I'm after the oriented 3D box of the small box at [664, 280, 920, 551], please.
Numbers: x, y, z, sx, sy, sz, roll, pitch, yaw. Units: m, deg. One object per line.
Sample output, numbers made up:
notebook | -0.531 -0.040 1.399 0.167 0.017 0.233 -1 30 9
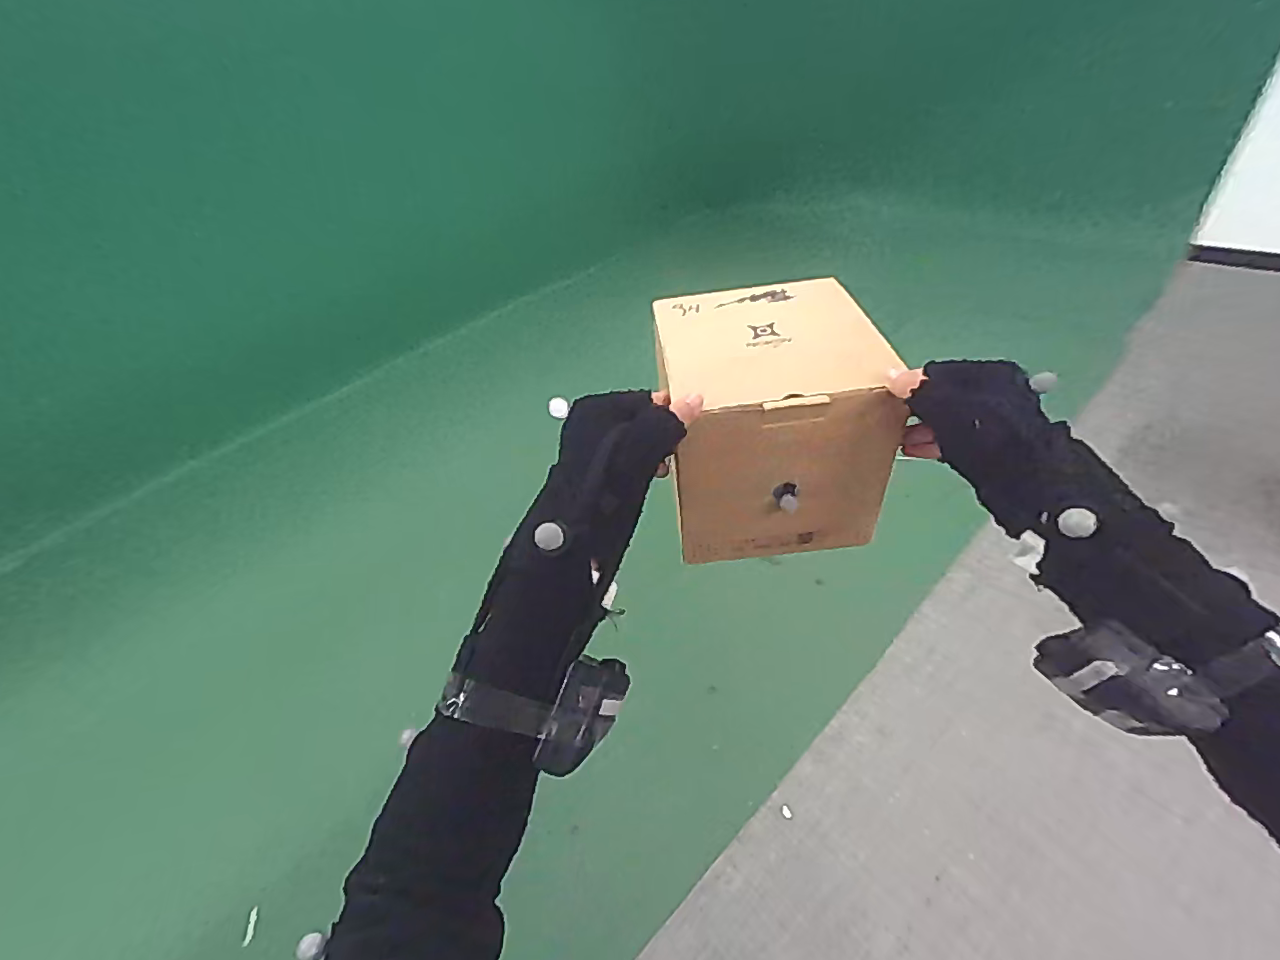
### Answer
small box | 0.114 -0.051 0.478 0.168 0.176 0.179 -6 44 2
